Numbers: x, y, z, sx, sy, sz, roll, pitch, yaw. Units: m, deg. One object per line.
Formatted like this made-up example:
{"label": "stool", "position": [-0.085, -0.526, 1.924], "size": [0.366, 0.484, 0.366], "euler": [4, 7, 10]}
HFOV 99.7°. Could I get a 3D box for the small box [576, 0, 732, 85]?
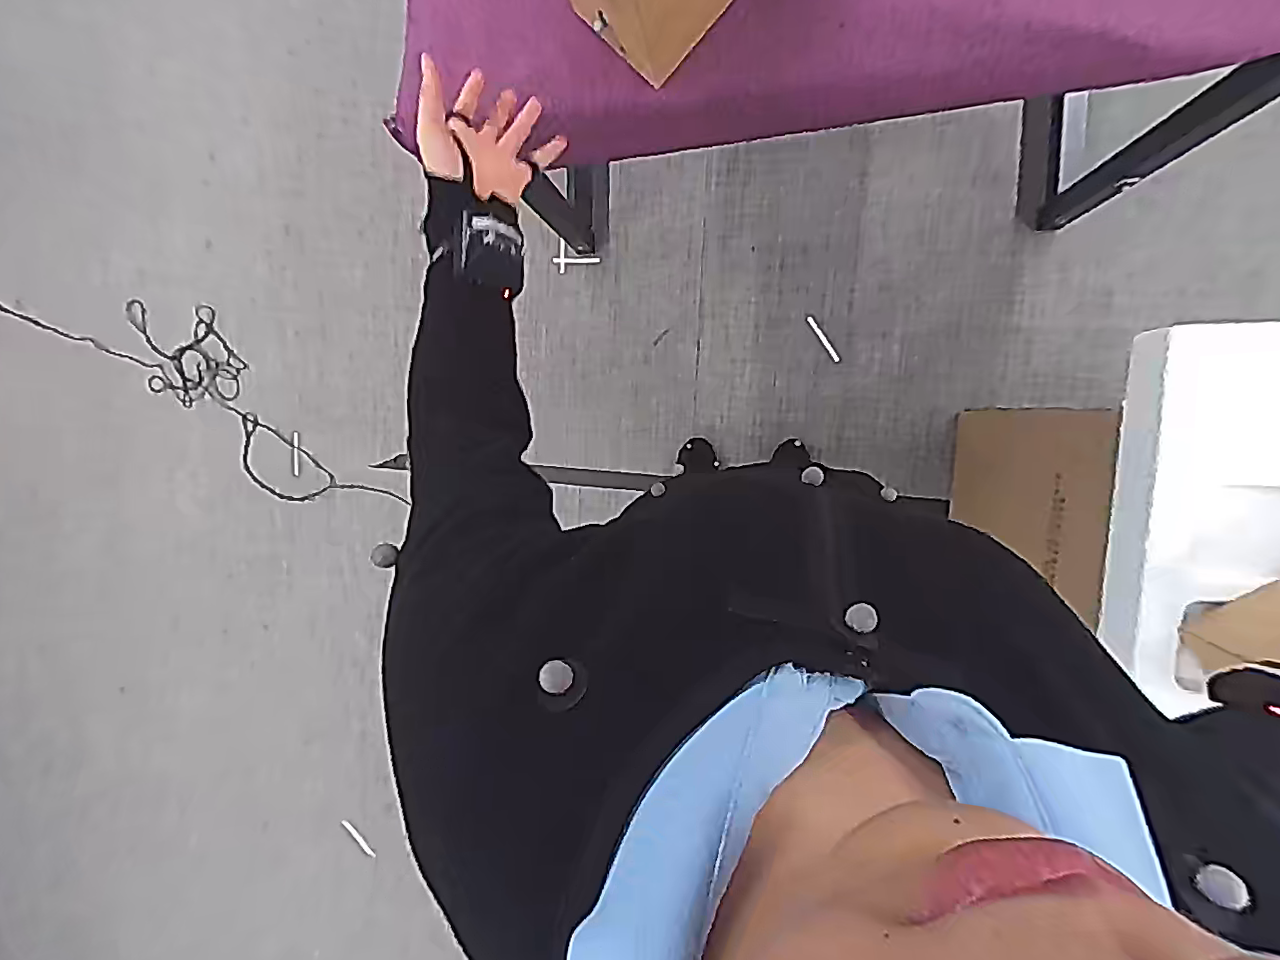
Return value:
{"label": "small box", "position": [0.011, -0.628, 0.629], "size": [0.179, 0.176, 0.168], "euler": [-45, 85, 12]}
